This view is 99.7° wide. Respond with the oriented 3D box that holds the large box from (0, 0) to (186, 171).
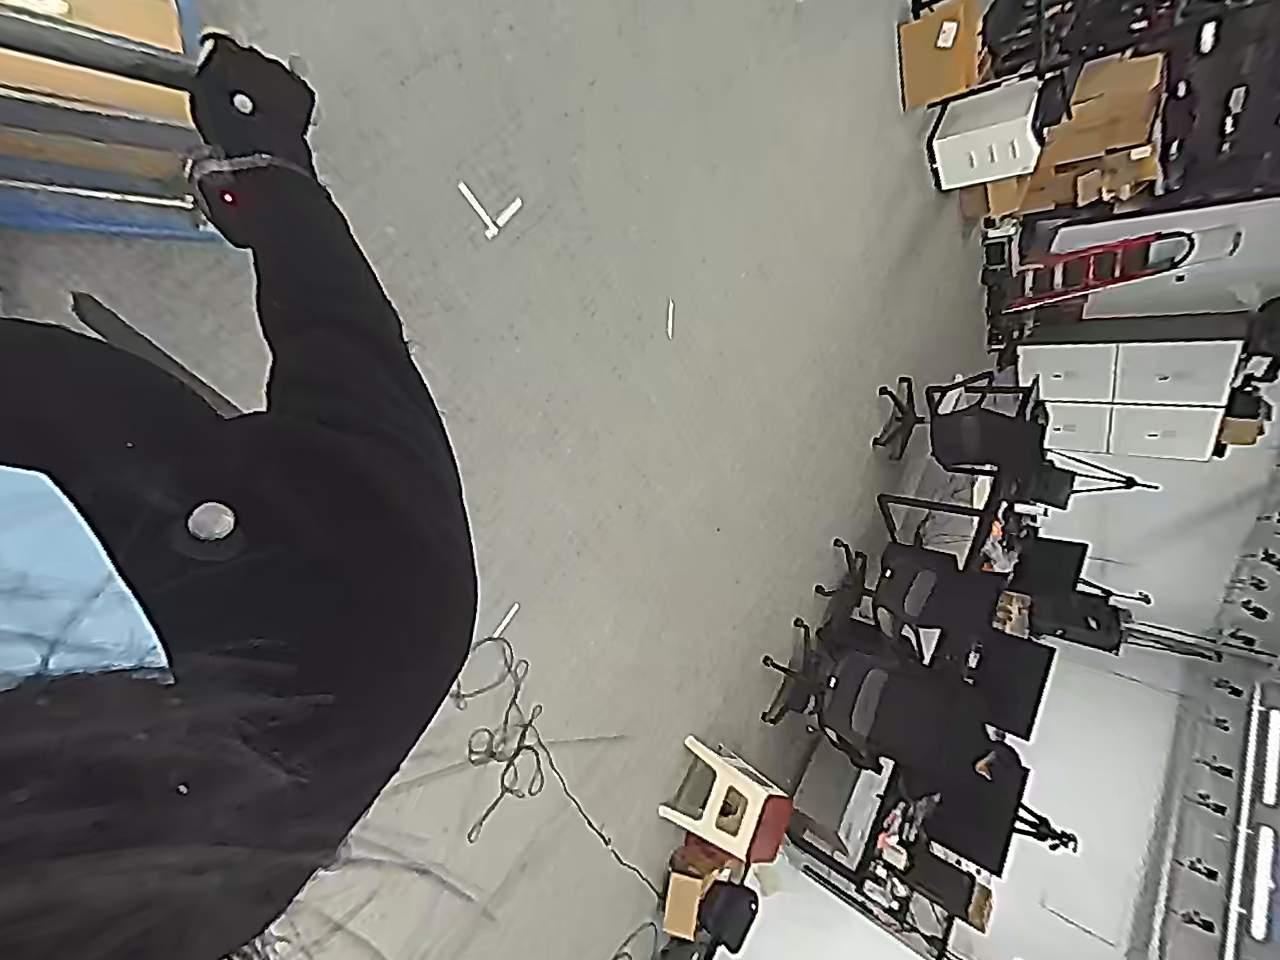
[{"bbox_3d":[-0.885,-0.627,0.679,0.408,0.320,0.320,-16,110,-46],"label":"large box"}]
